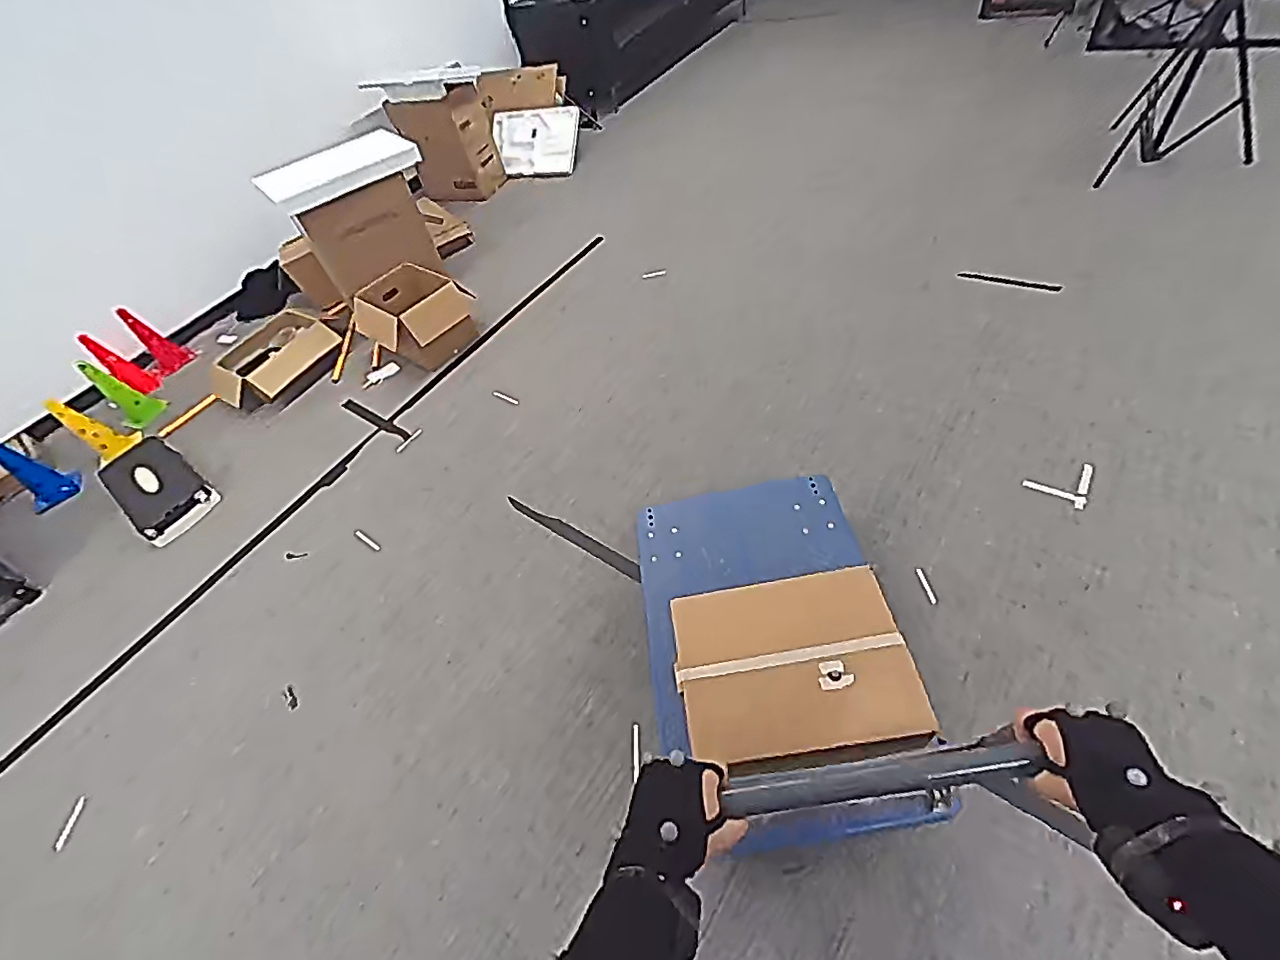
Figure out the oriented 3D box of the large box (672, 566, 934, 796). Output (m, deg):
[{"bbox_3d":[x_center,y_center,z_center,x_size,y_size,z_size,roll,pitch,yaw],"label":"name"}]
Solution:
[{"bbox_3d":[0.298,0.418,1.103,0.408,0.320,0.320,-11,51,4],"label":"large box"}]
